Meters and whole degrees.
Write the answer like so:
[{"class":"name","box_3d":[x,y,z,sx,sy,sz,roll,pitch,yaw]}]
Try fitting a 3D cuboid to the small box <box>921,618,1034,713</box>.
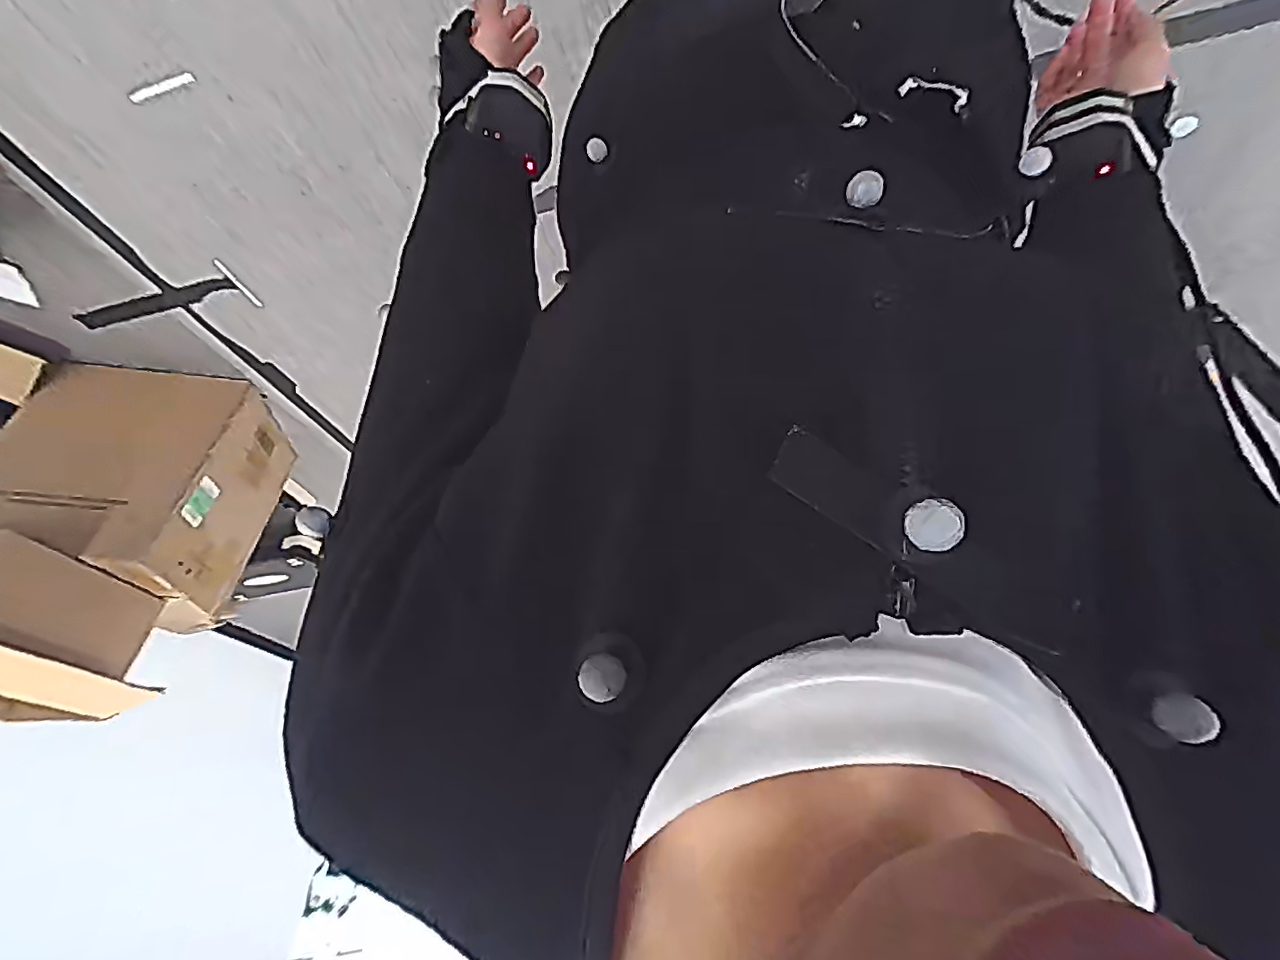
[{"class":"small box","box_3d":[0.788,0.443,1.288,0.179,0.176,0.168,-11,143,14]}]
